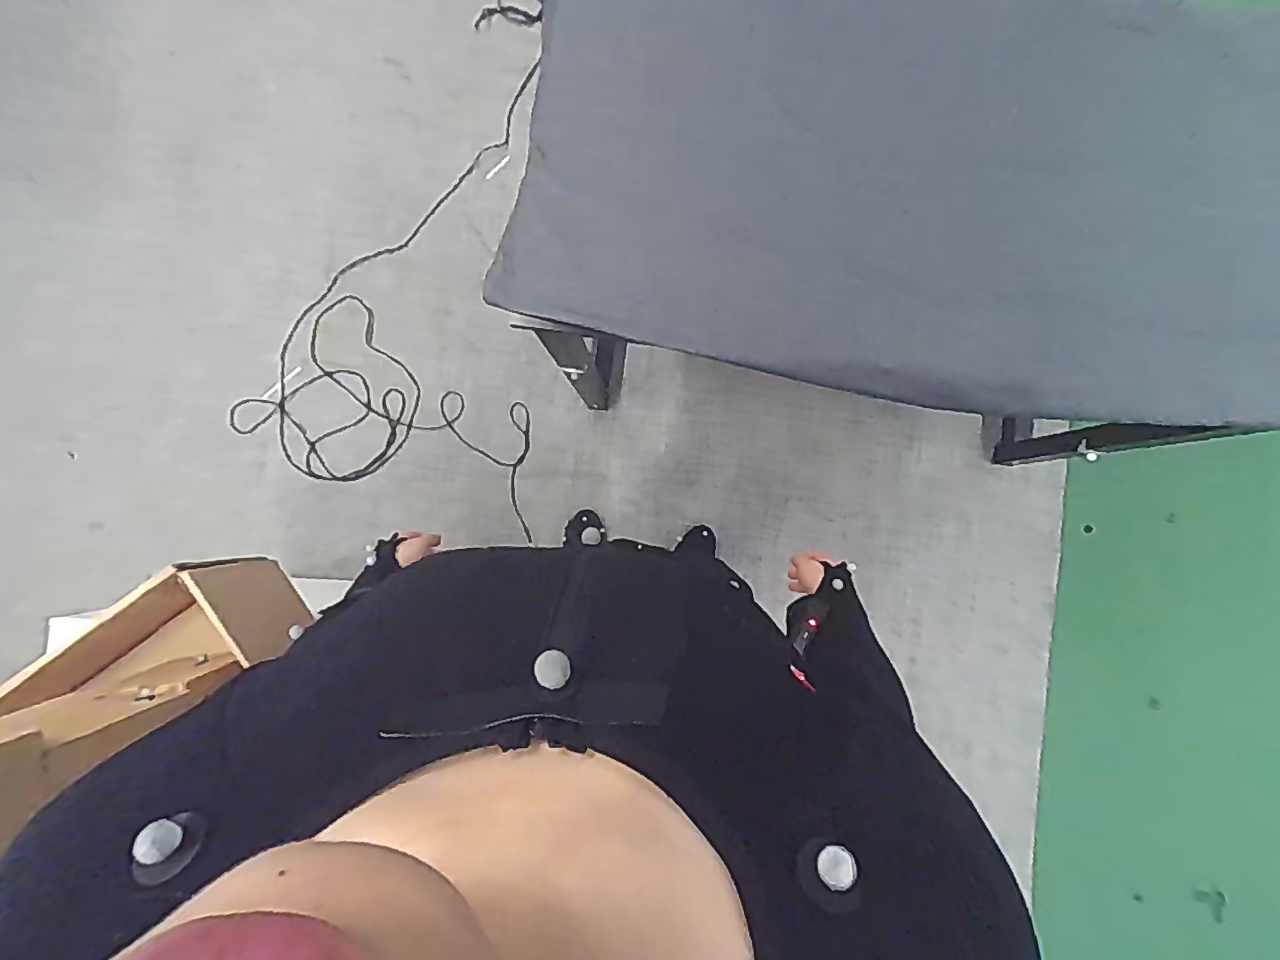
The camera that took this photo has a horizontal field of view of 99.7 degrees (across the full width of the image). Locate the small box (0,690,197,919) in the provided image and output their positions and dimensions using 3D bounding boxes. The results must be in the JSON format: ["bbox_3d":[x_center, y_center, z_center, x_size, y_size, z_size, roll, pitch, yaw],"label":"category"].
[{"bbox_3d":[-0.659,0.356,0.625,0.168,0.176,0.179,-2,90,3],"label":"small box"}]
